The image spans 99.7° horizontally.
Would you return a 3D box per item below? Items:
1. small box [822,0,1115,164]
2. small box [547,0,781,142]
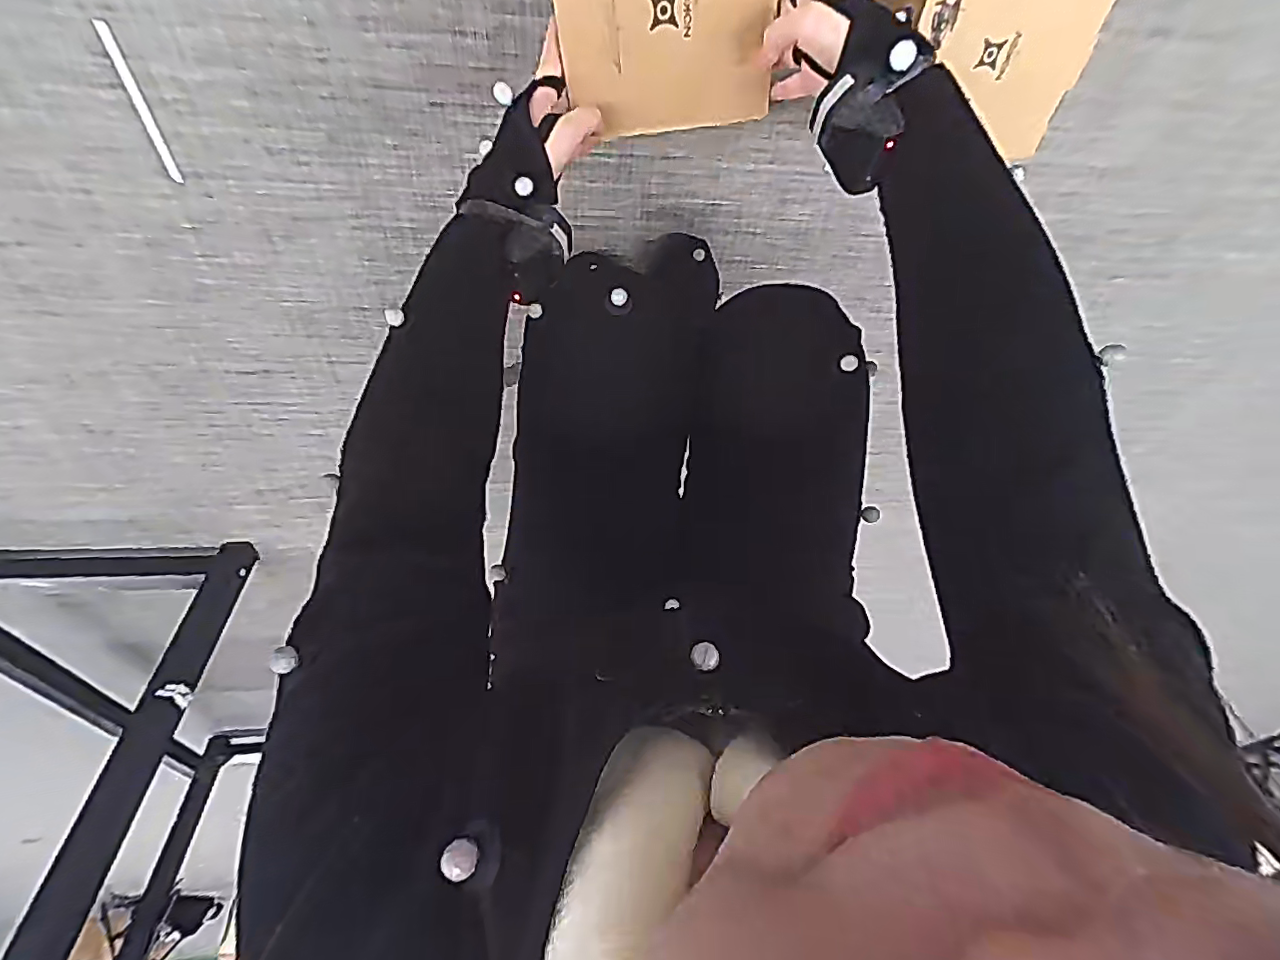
[{"bbox_3d":[0.314,-0.440,0.546,0.179,0.176,0.168,-2,137,-7],"label":"small box"},{"bbox_3d":[0.010,-0.412,0.453,0.179,0.176,0.168,-8,140,-2],"label":"small box"}]
